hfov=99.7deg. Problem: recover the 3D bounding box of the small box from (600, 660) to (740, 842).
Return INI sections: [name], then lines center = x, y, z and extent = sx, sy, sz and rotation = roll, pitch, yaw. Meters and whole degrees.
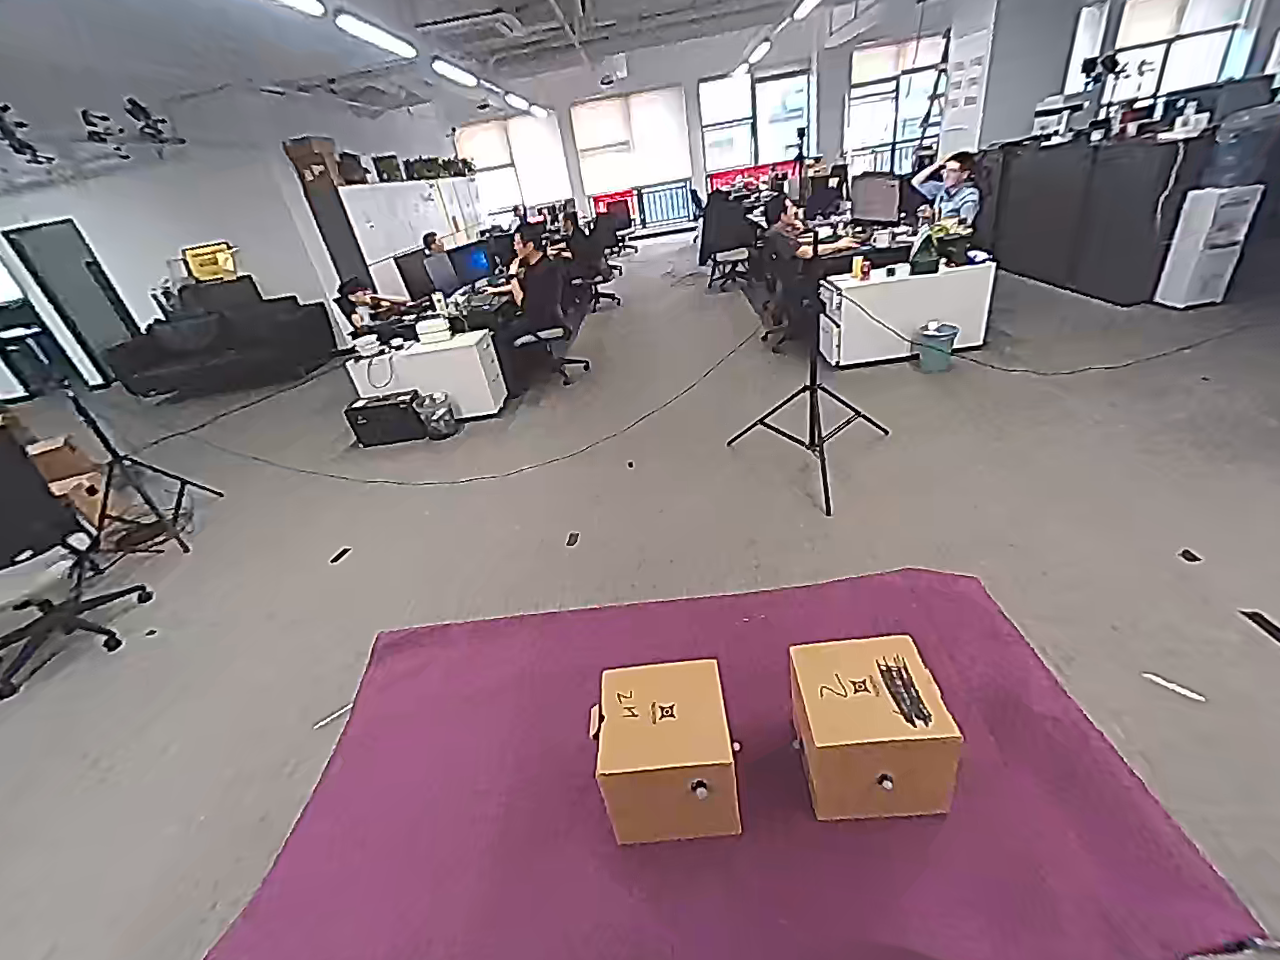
[small box]
center = 0.046, 0.388, 0.780
extent = 0.179, 0.176, 0.168
rotation = -8, 29, 4
